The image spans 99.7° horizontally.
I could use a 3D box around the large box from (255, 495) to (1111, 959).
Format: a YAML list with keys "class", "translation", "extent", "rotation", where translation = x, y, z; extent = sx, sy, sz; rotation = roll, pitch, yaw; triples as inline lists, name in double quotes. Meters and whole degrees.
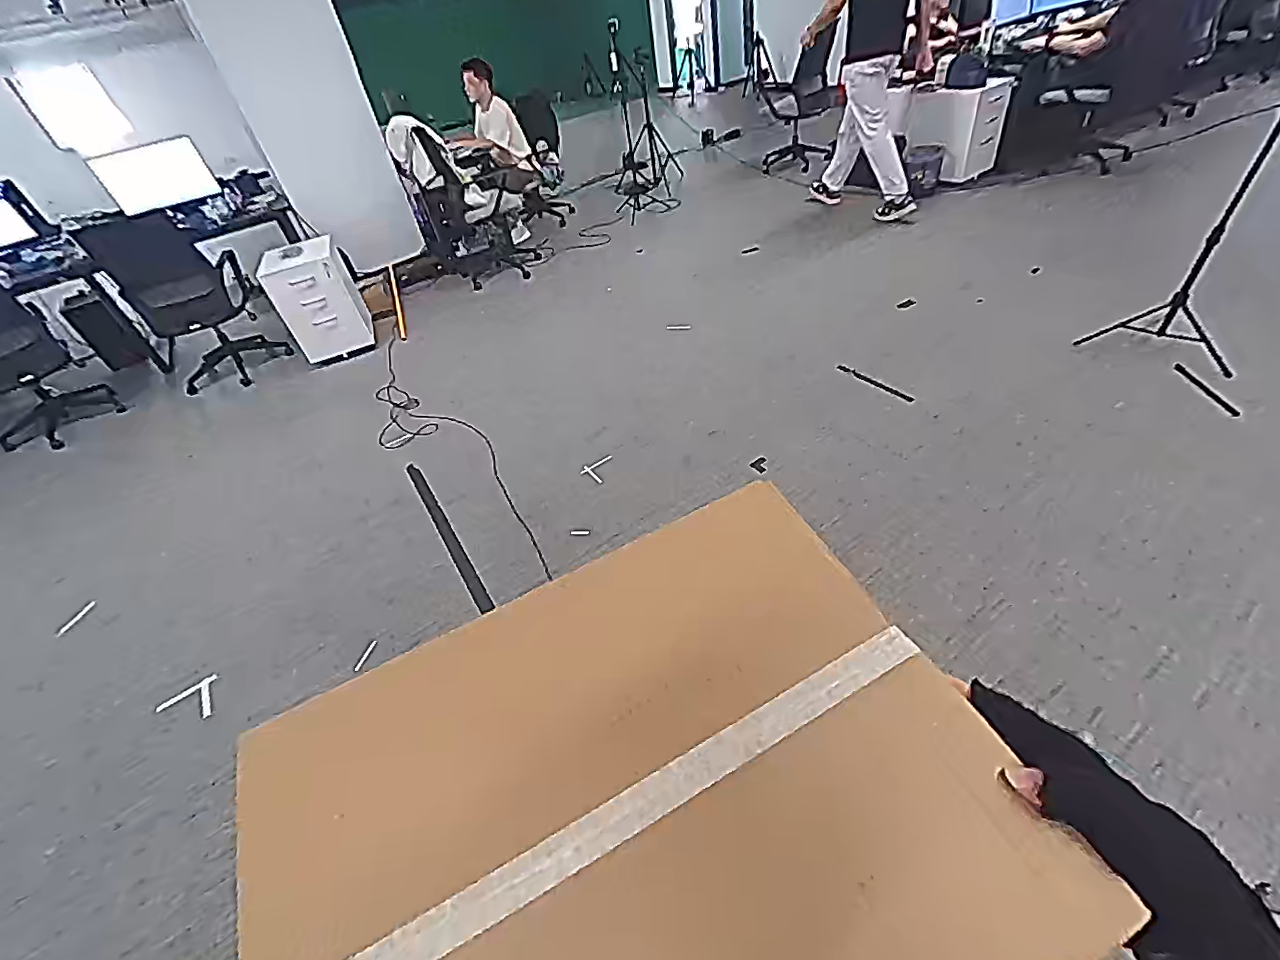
- class: "large box"
  translation: [0.009, 0.285, 0.426]
  extent: [0.408, 0.320, 0.320]
  rotation: [-25, 53, -12]
